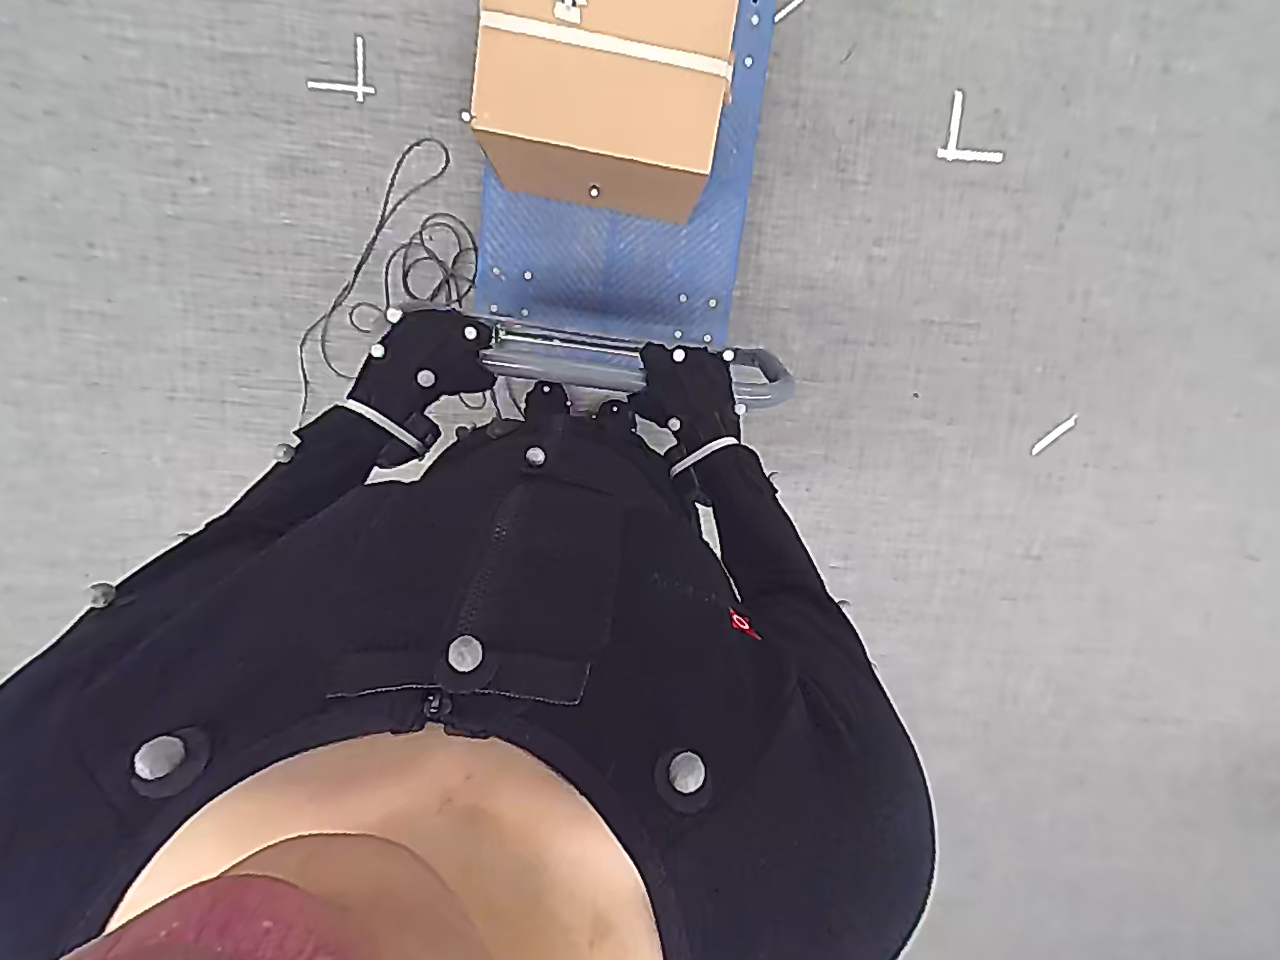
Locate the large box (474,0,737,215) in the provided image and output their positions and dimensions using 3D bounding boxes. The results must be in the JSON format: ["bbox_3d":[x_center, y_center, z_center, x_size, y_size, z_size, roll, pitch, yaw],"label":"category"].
[{"bbox_3d":[-0.059,-0.729,1.016,0.408,0.320,0.320,9,100,-4],"label":"large box"}]
